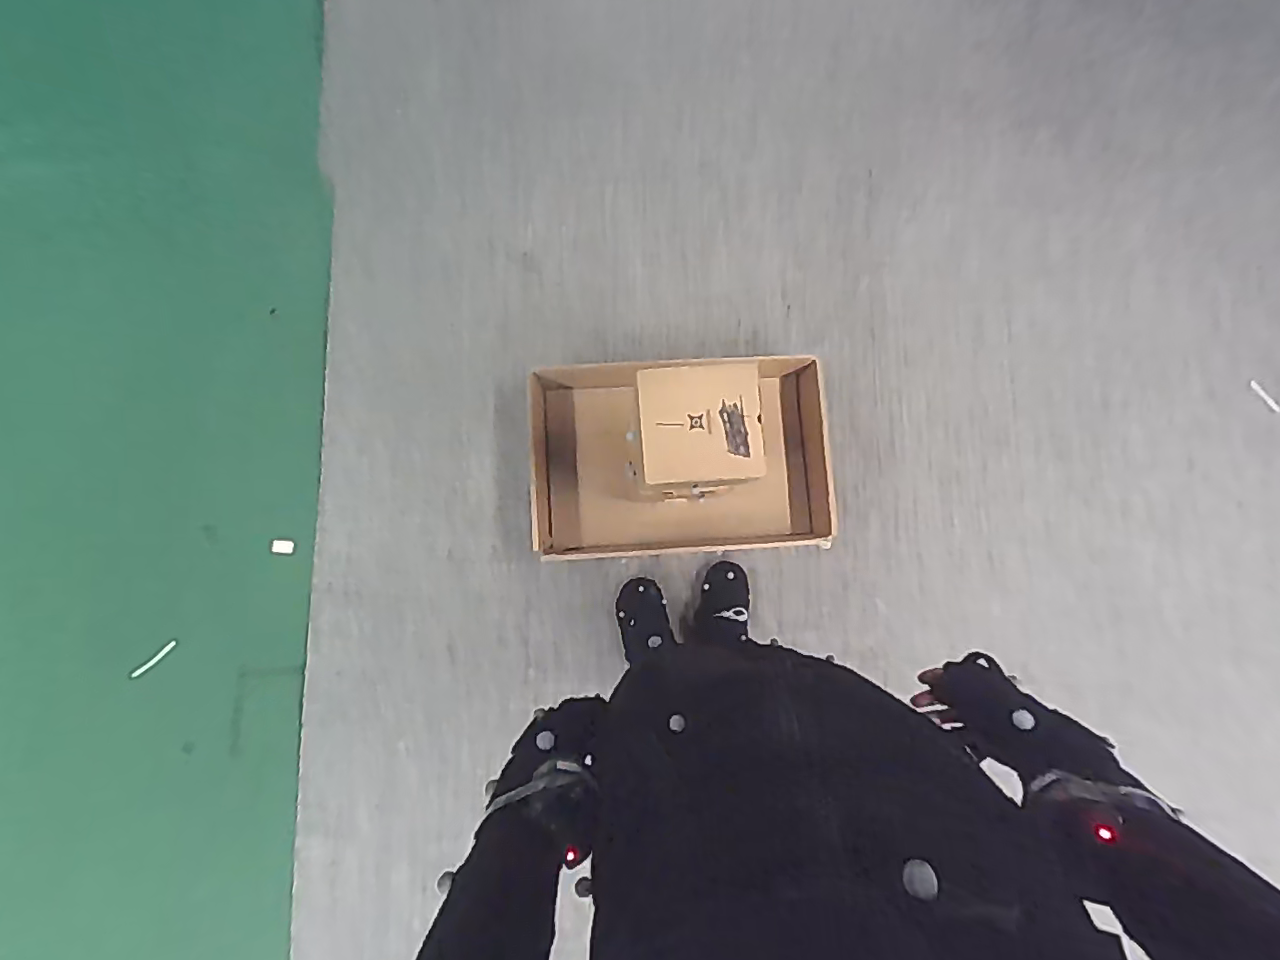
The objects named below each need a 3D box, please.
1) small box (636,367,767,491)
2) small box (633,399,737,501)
[{"bbox_3d":[0.087,-0.072,0.848,0.179,0.176,0.168,-4,86,-1],"label":"small box"},{"bbox_3d":[0.076,-0.055,0.994,0.168,0.176,0.179,-6,86,-1],"label":"small box"}]
